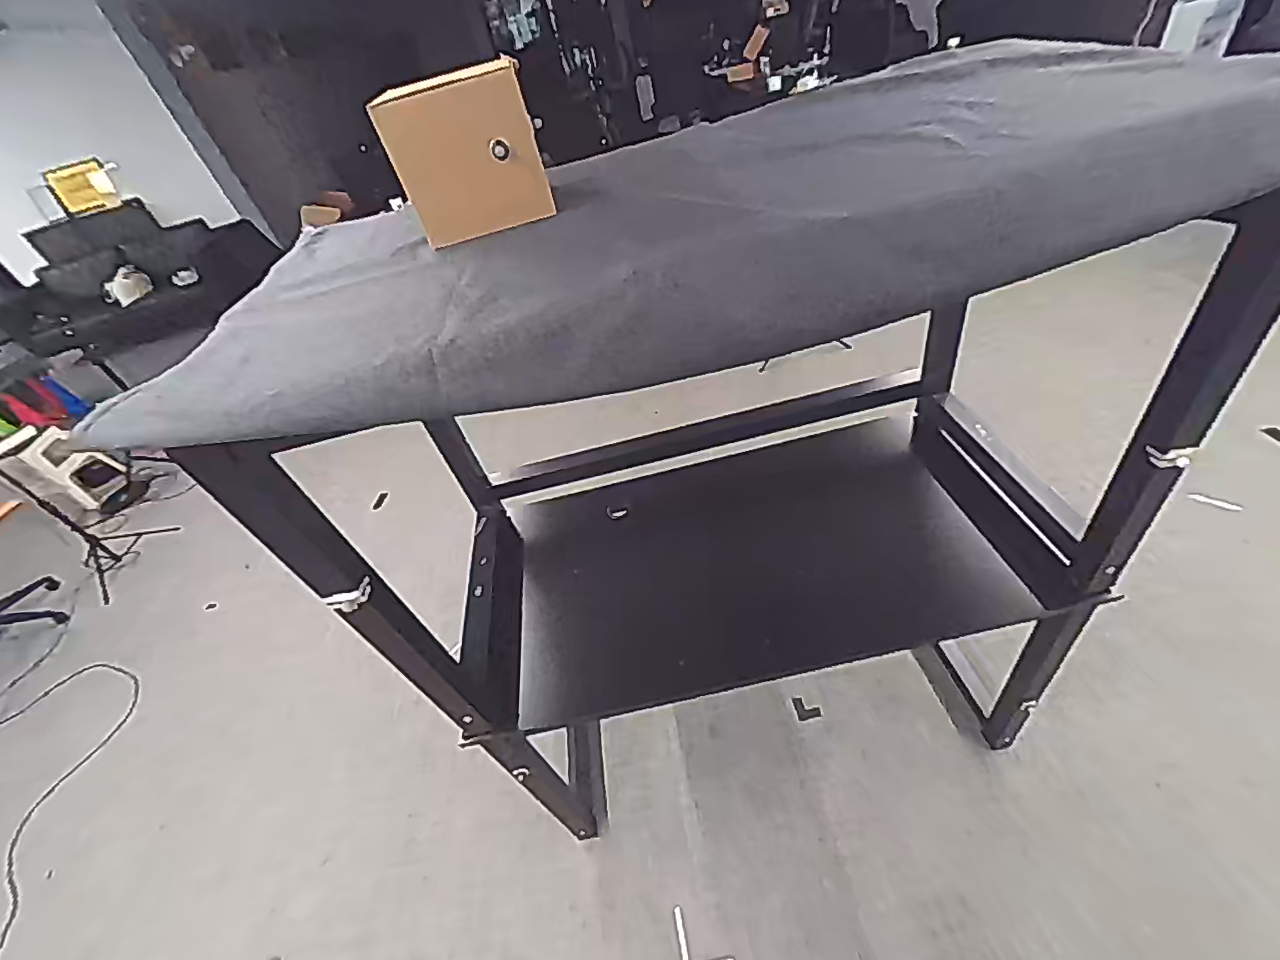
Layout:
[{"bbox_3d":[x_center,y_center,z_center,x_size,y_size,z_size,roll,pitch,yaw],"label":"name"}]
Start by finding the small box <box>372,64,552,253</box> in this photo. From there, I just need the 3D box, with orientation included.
[{"bbox_3d":[-0.224,-0.434,0.732,0.179,0.176,0.168,-16,42,-1],"label":"small box"}]
